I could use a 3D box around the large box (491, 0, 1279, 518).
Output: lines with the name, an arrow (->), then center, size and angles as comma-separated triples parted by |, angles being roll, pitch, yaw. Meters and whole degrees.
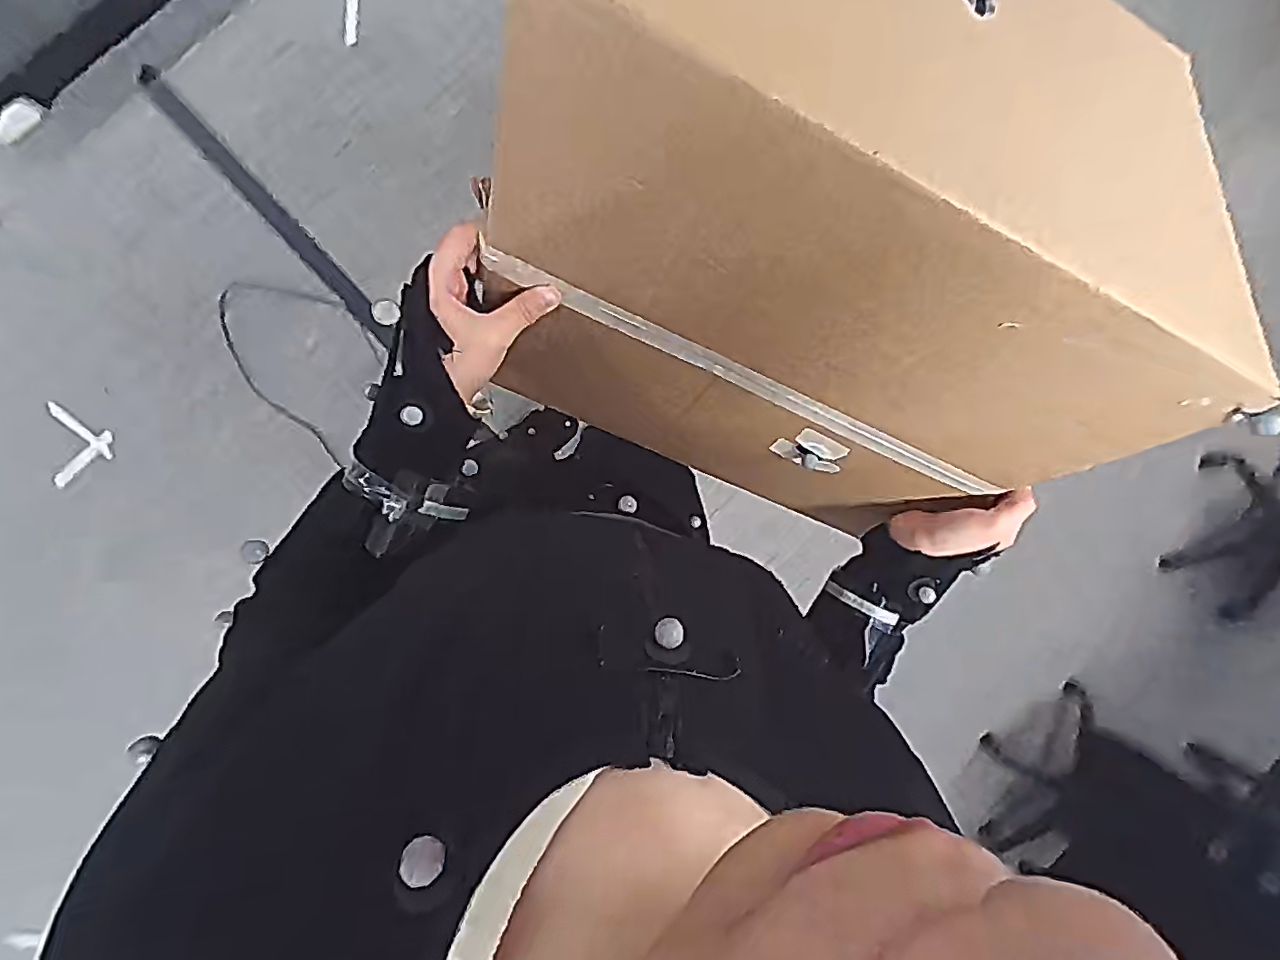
large box -> 0.137, -0.211, 0.405 | 0.408, 0.320, 0.320 | 20, 67, -11
